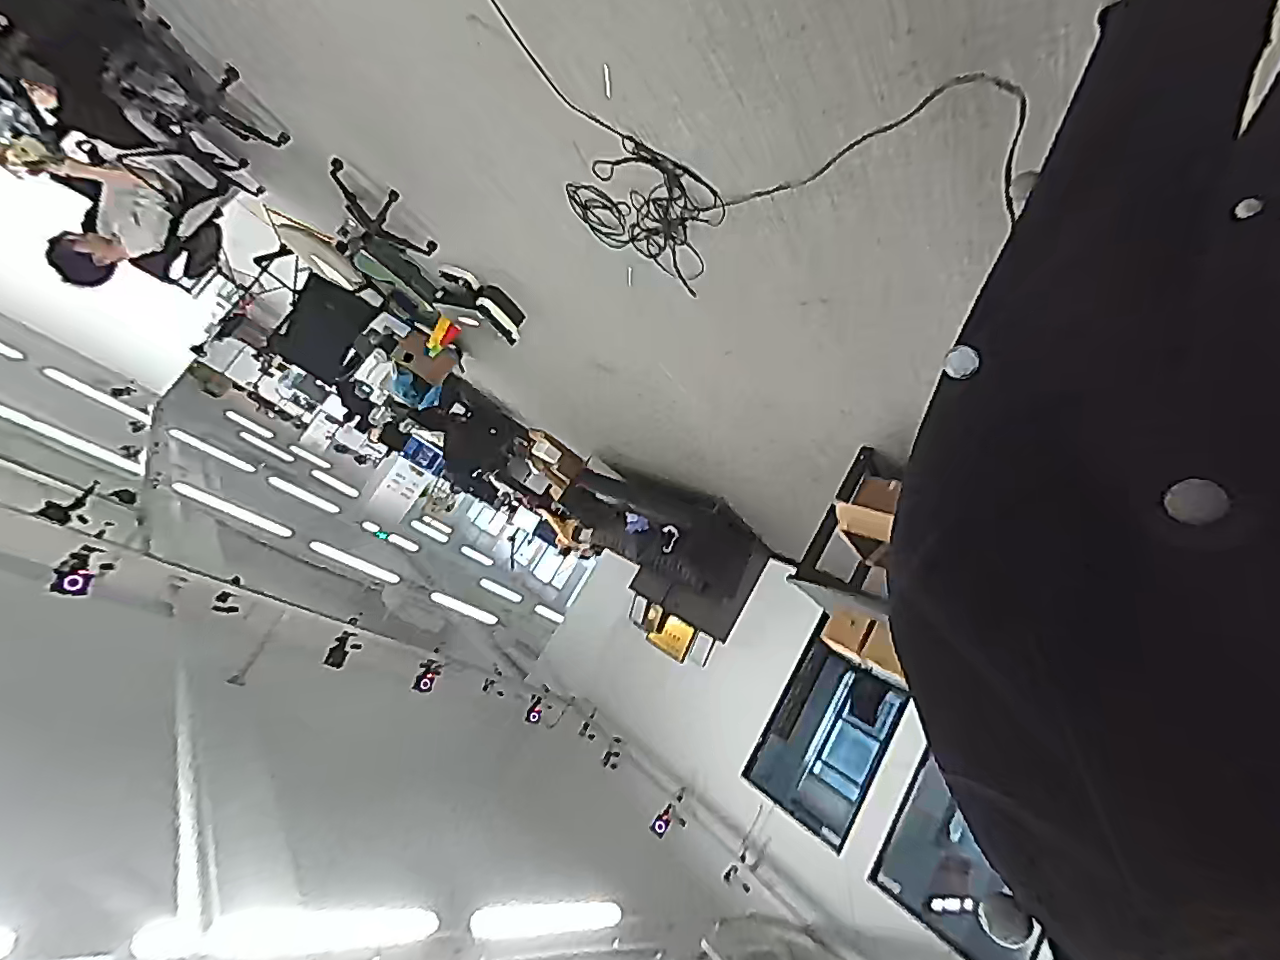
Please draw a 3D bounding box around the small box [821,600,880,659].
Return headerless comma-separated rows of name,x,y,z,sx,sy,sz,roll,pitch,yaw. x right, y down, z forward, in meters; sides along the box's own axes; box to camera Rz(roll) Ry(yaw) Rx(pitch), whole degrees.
small box,0.944,0.665,2.411,0.168,0.176,0.179,20,164,46
